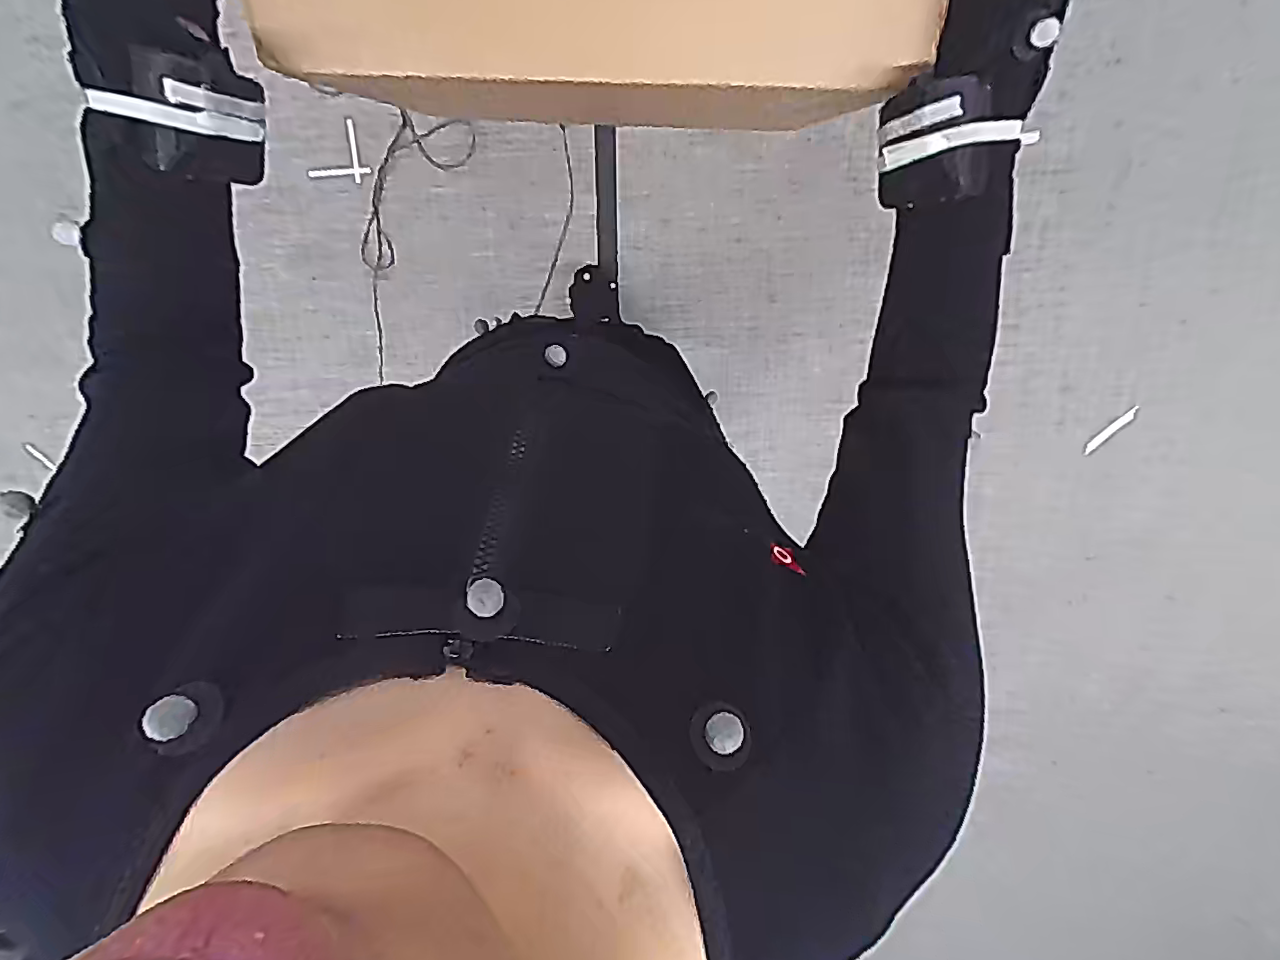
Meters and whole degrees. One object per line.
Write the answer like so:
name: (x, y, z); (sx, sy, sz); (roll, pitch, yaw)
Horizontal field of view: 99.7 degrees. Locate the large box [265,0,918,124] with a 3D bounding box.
large box: (-0.034, -0.466, 0.401); (0.408, 0.320, 0.320); (-1, 119, -1)
